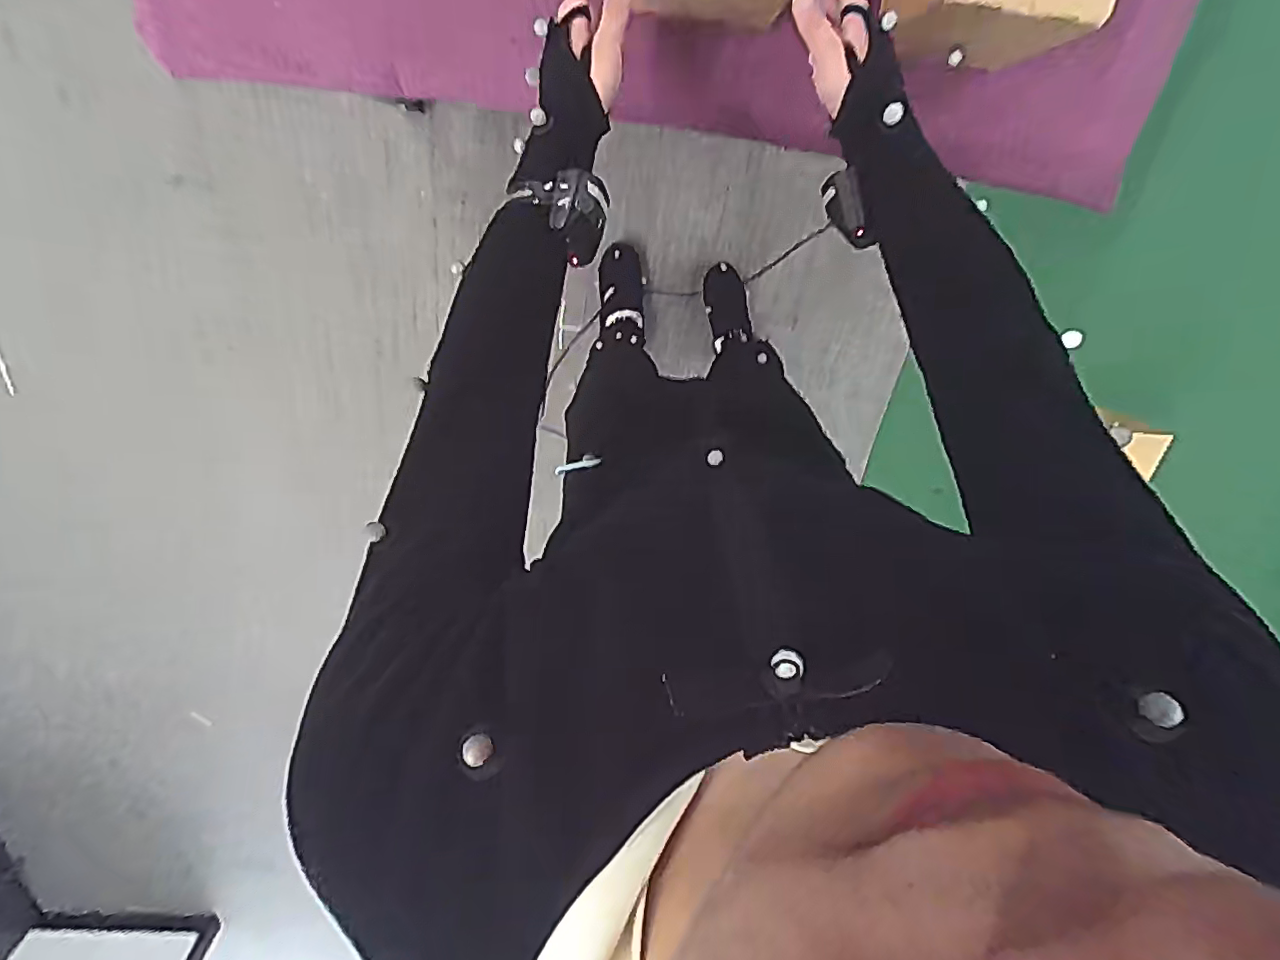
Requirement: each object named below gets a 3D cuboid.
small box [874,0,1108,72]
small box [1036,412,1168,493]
[{"bbox_3d":[0.367,-0.553,0.551,0.168,0.176,0.179,6,115,-4],"label":"small box"},{"bbox_3d":[1.232,-0.078,1.459,0.179,0.176,0.168,3,117,-4],"label":"small box"}]
